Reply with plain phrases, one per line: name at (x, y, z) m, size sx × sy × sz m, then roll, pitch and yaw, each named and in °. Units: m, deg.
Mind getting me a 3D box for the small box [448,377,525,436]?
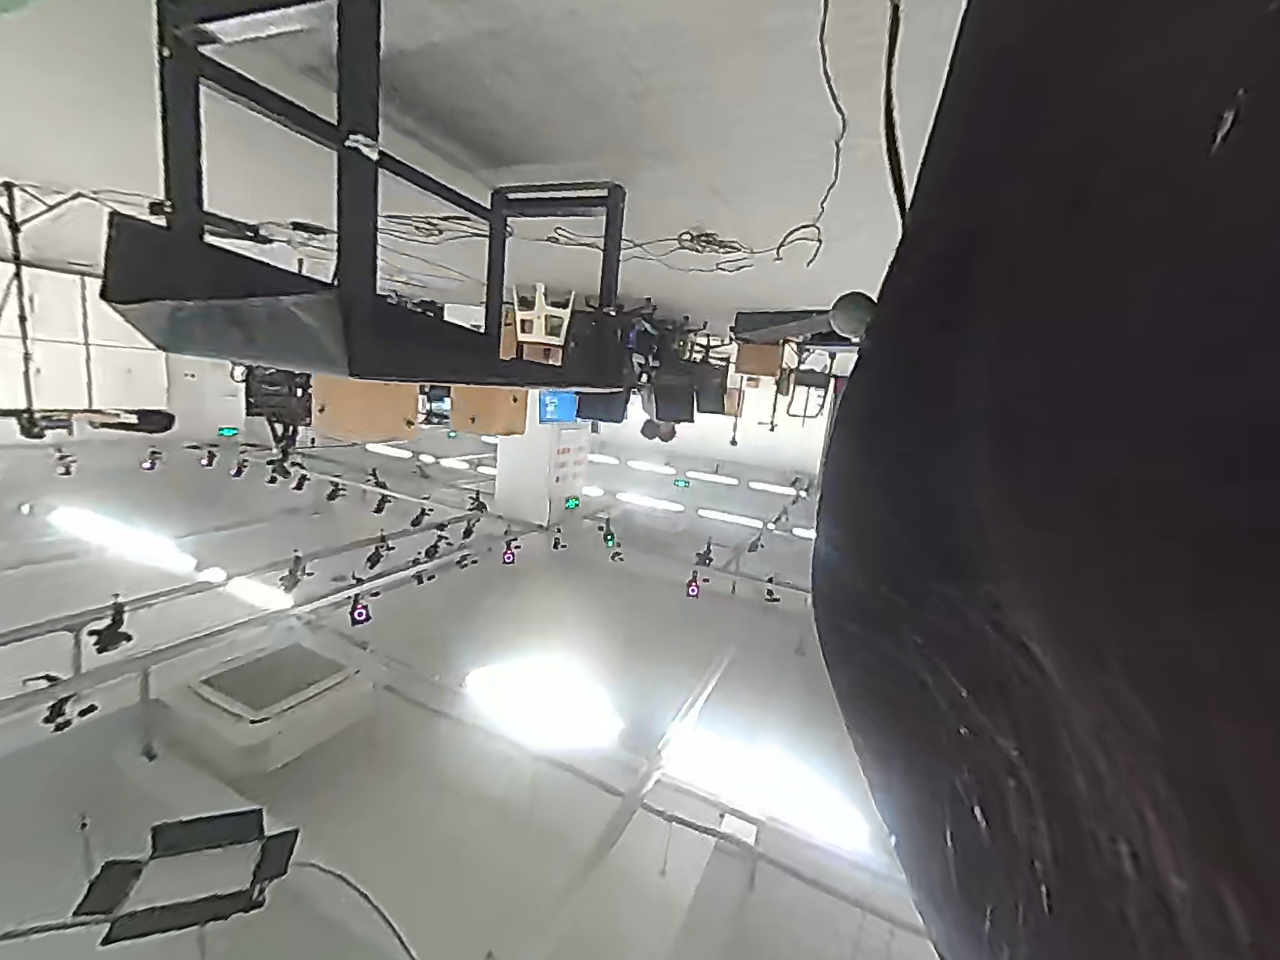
small box at (-0.477, -0.234, 1.697) m, size 0.179 × 0.176 × 0.168 m, roll 10°, pitch -169°, yaw 22°
